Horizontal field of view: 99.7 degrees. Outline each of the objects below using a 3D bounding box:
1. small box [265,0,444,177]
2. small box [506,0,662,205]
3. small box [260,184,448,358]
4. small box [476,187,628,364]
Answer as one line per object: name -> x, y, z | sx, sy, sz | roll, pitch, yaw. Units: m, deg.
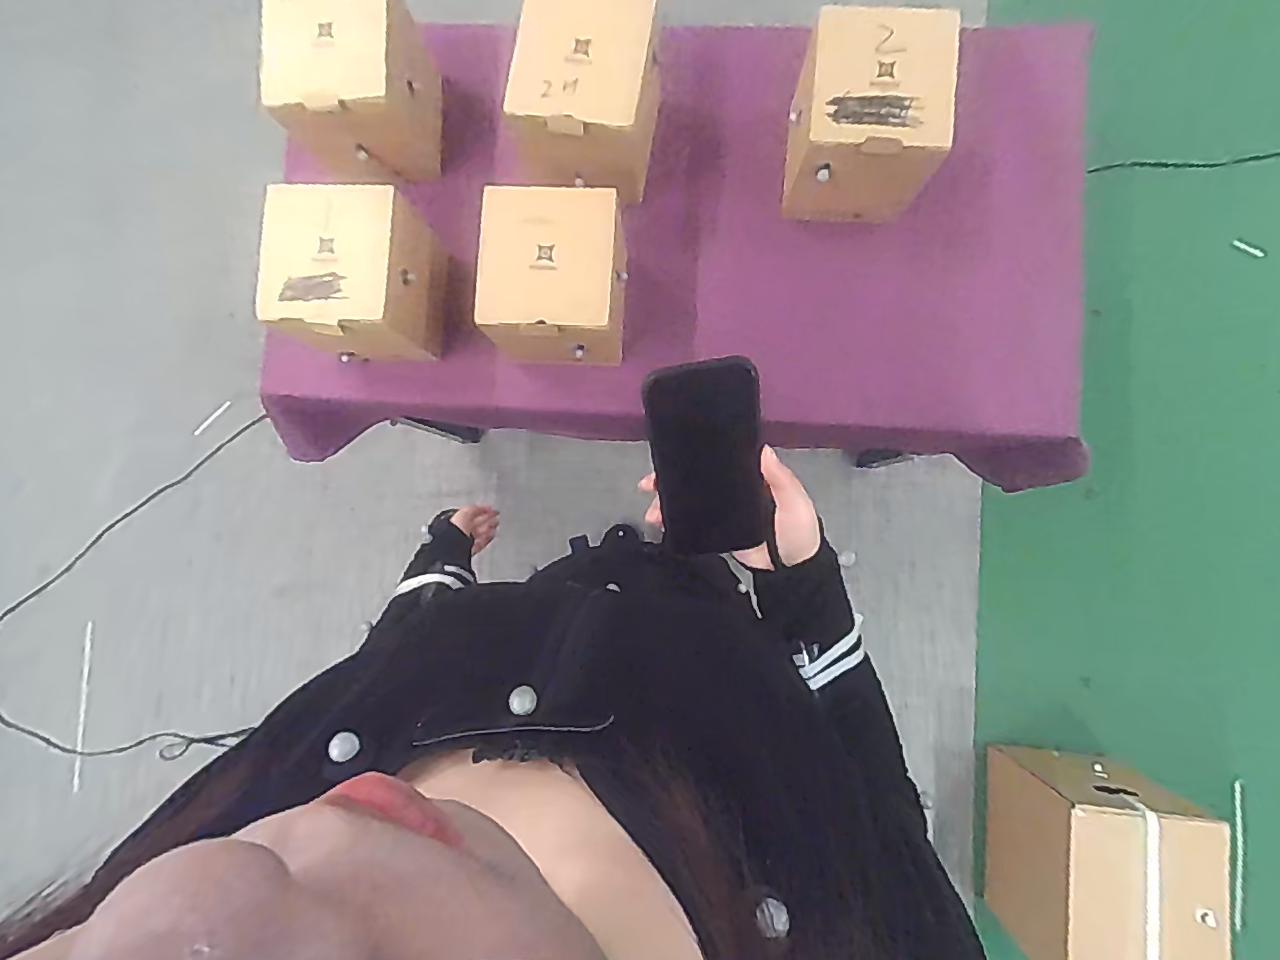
small box -> -0.390, -0.555, 0.765 | 0.168, 0.176, 0.179 | 0, 88, 3
small box -> -0.066, -0.517, 0.743 | 0.168, 0.176, 0.179 | 10, 88, 4
small box -> -0.381, -0.277, 0.748 | 0.168, 0.176, 0.179 | 3, 85, 3
small box -> -0.107, -0.264, 0.733 | 0.168, 0.176, 0.179 | 4, 86, 3
